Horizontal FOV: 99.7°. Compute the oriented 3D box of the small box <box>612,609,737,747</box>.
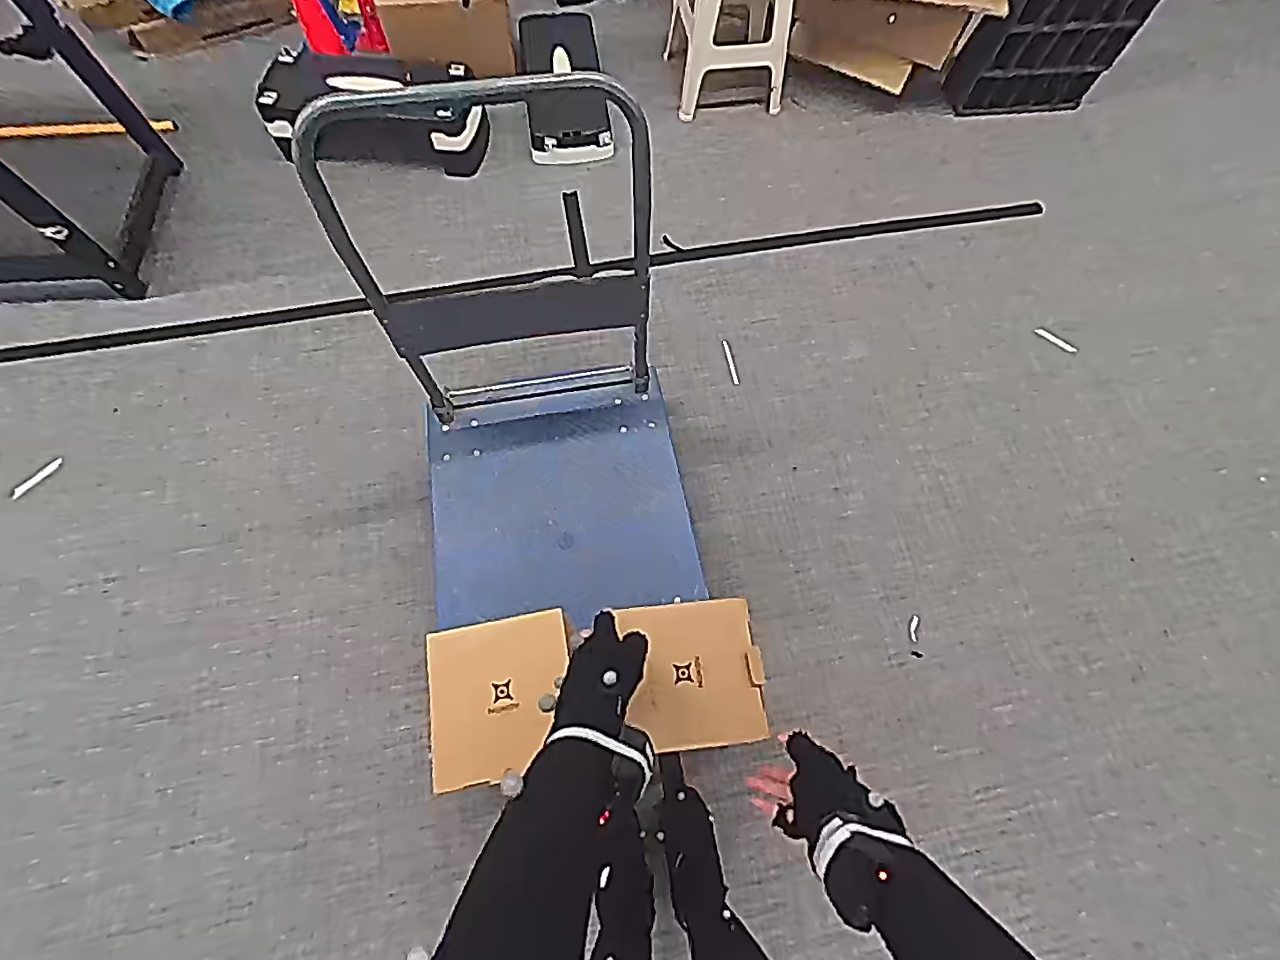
[{"bbox_3d":[0.044,0.318,0.871,0.168,0.176,0.179,-8,69,-5],"label":"small box"}]

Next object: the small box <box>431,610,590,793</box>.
[{"bbox_3d":[-0.160,0.282,0.702,0.168,0.176,0.179,-10,69,-6],"label":"small box"}]
